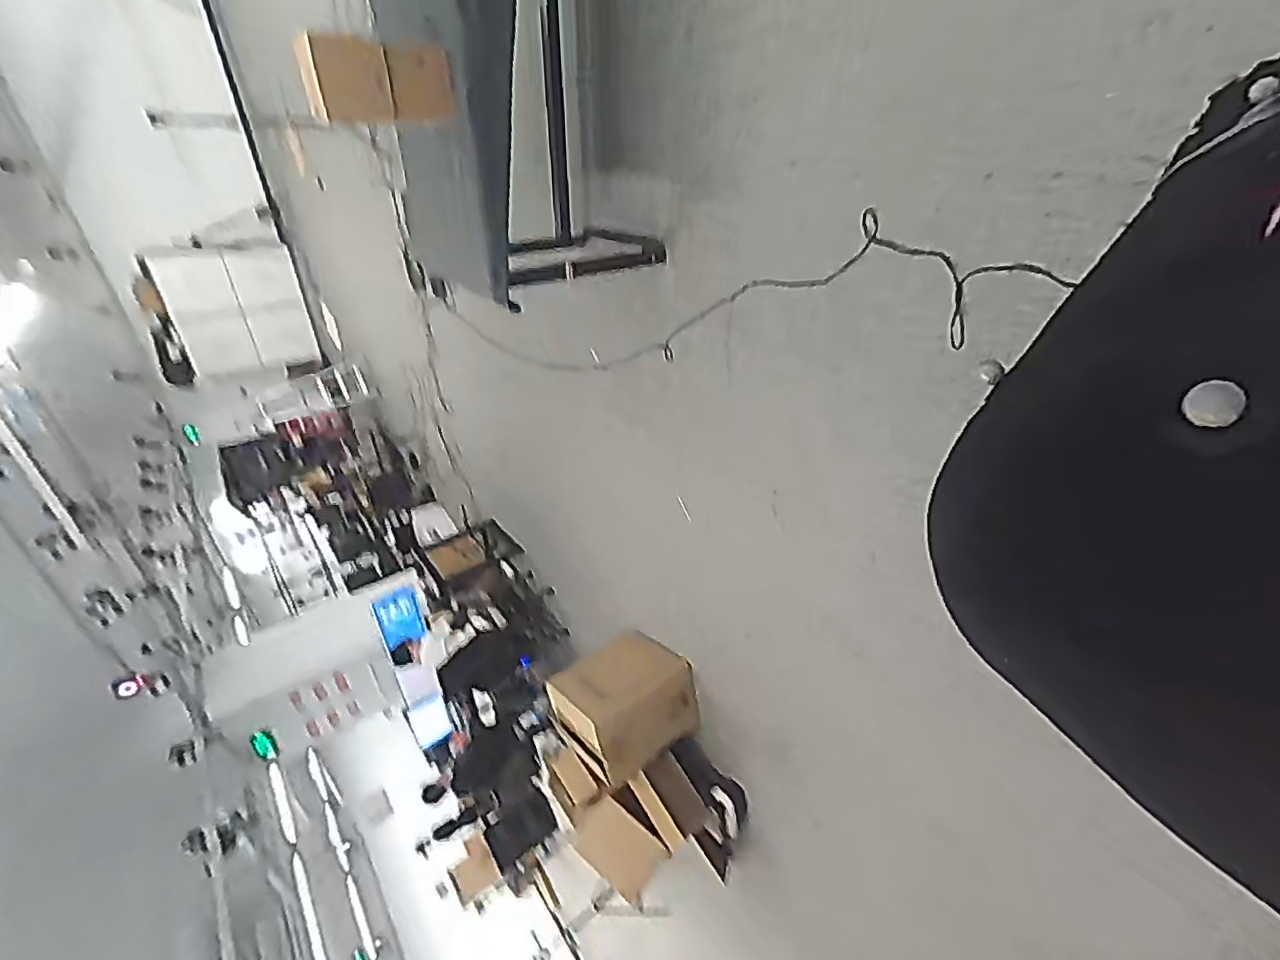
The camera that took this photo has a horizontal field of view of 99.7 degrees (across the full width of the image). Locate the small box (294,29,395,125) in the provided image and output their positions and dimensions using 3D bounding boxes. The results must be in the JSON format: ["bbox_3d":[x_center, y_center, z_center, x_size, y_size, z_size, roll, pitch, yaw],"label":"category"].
[{"bbox_3d":[-0.742,-1.009,1.366,0.168,0.176,0.179,36,136,41],"label":"small box"}]

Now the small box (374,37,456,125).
[{"bbox_3d":[-0.618,-1.066,1.457,0.168,0.176,0.179,34,136,43],"label":"small box"}]
